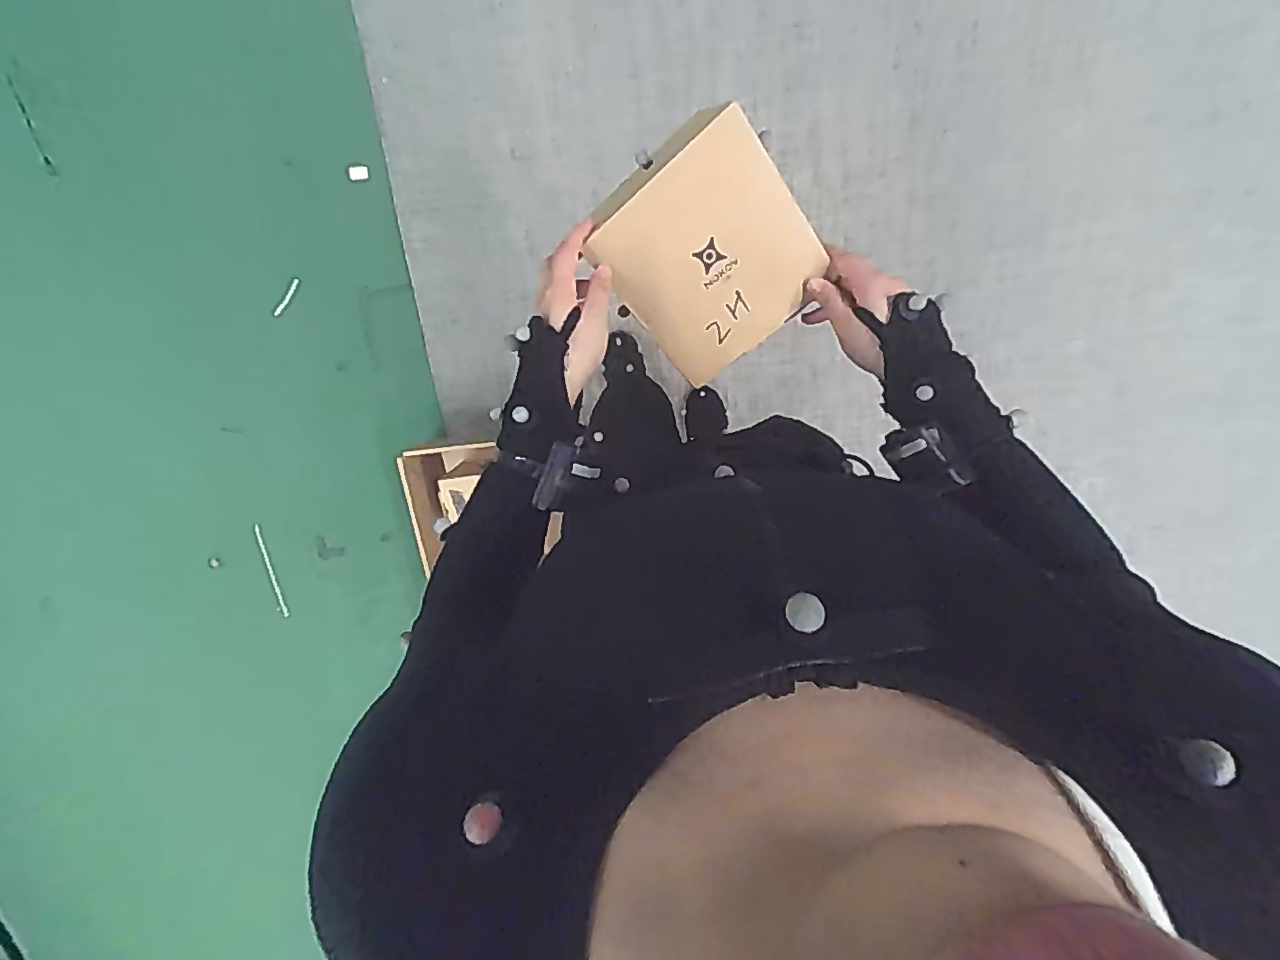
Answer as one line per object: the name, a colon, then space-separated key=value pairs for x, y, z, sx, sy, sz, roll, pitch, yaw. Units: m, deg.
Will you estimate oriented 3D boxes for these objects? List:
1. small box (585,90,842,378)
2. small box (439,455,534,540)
small box: x=0.061 y=-0.240 z=0.539 sx=0.168 sy=0.176 sz=0.179 roll=-36 pitch=118 yaw=18
small box: x=-0.388 y=0.040 z=1.397 sx=0.179 sy=0.176 sz=0.168 roll=-8 pitch=107 yaw=3
